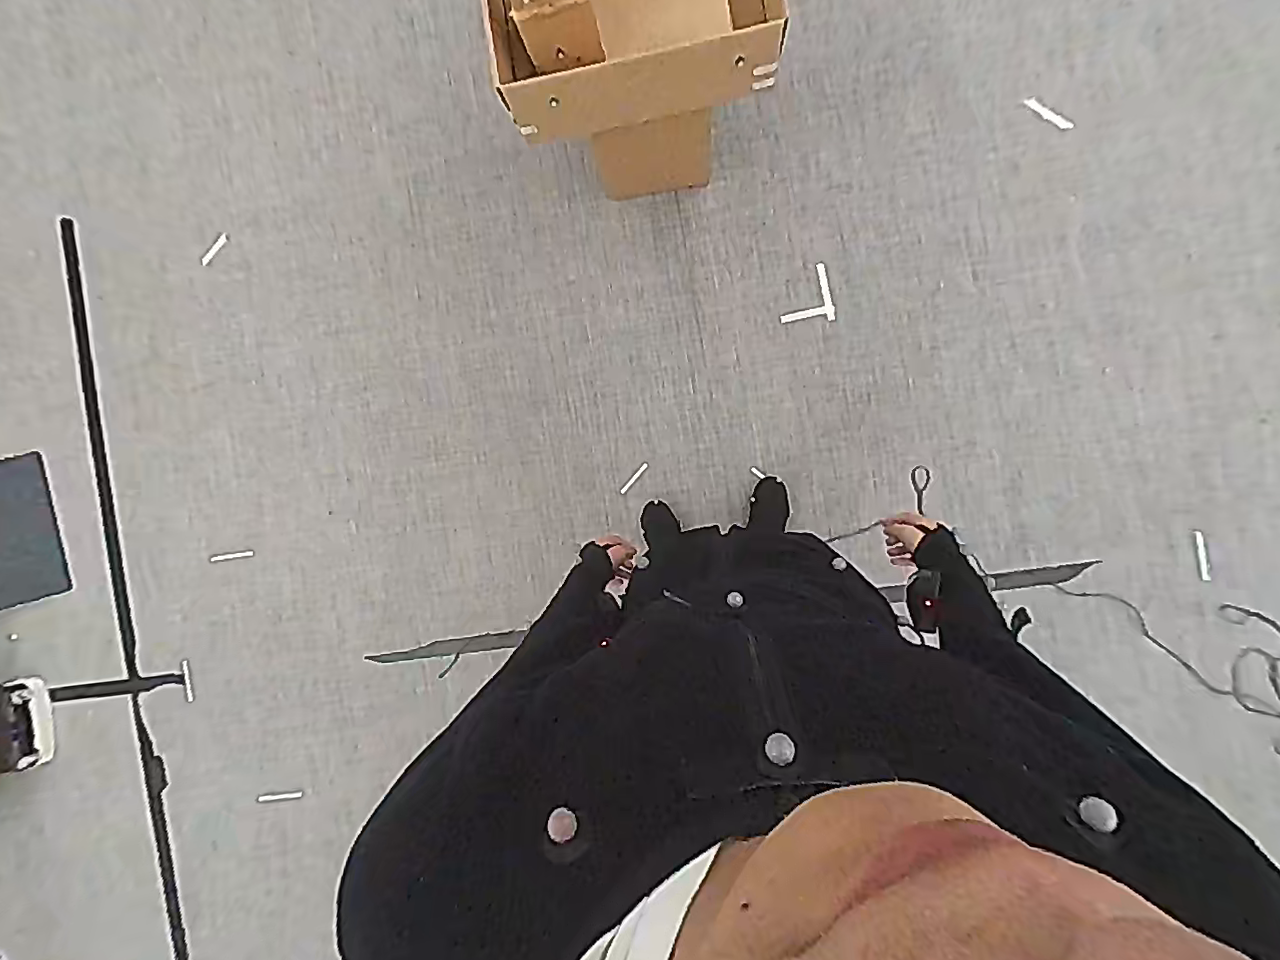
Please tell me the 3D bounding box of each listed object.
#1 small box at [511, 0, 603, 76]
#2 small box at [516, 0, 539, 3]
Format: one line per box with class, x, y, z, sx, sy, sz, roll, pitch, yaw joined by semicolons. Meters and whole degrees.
small box;-0.184;-1.039;1.178;0.168;0.176;0.179;-10;89;7
small box;-0.203;-1.052;1.015;0.168;0.176;0.179;-10;89;7
